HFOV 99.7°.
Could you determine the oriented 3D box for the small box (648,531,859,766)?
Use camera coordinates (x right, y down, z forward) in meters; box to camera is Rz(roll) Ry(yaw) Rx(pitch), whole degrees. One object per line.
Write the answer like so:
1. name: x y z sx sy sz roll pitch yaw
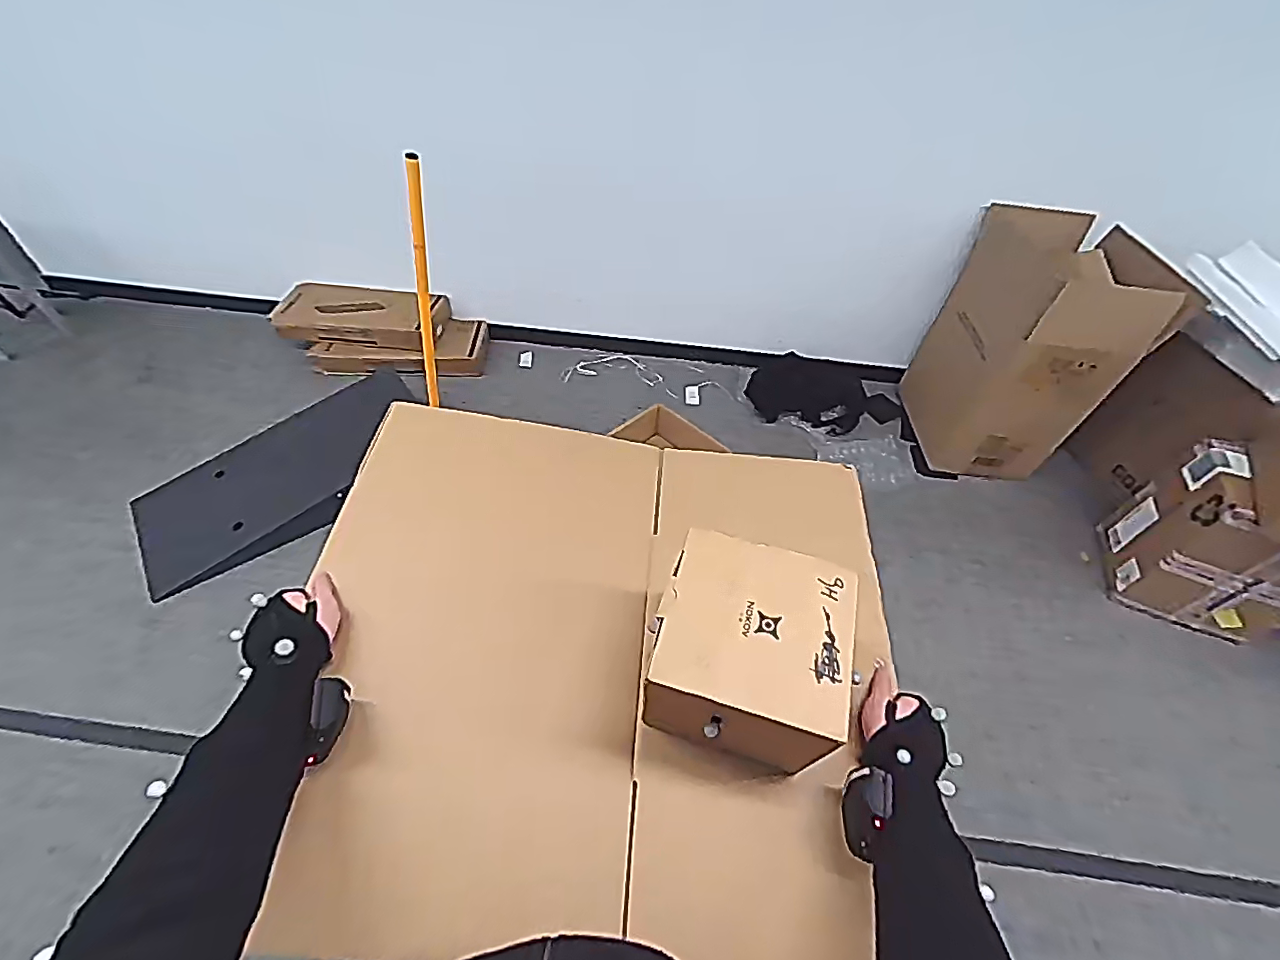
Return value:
1. small box: 0.113 0.183 0.574 0.179 0.176 0.168 14 55 10
